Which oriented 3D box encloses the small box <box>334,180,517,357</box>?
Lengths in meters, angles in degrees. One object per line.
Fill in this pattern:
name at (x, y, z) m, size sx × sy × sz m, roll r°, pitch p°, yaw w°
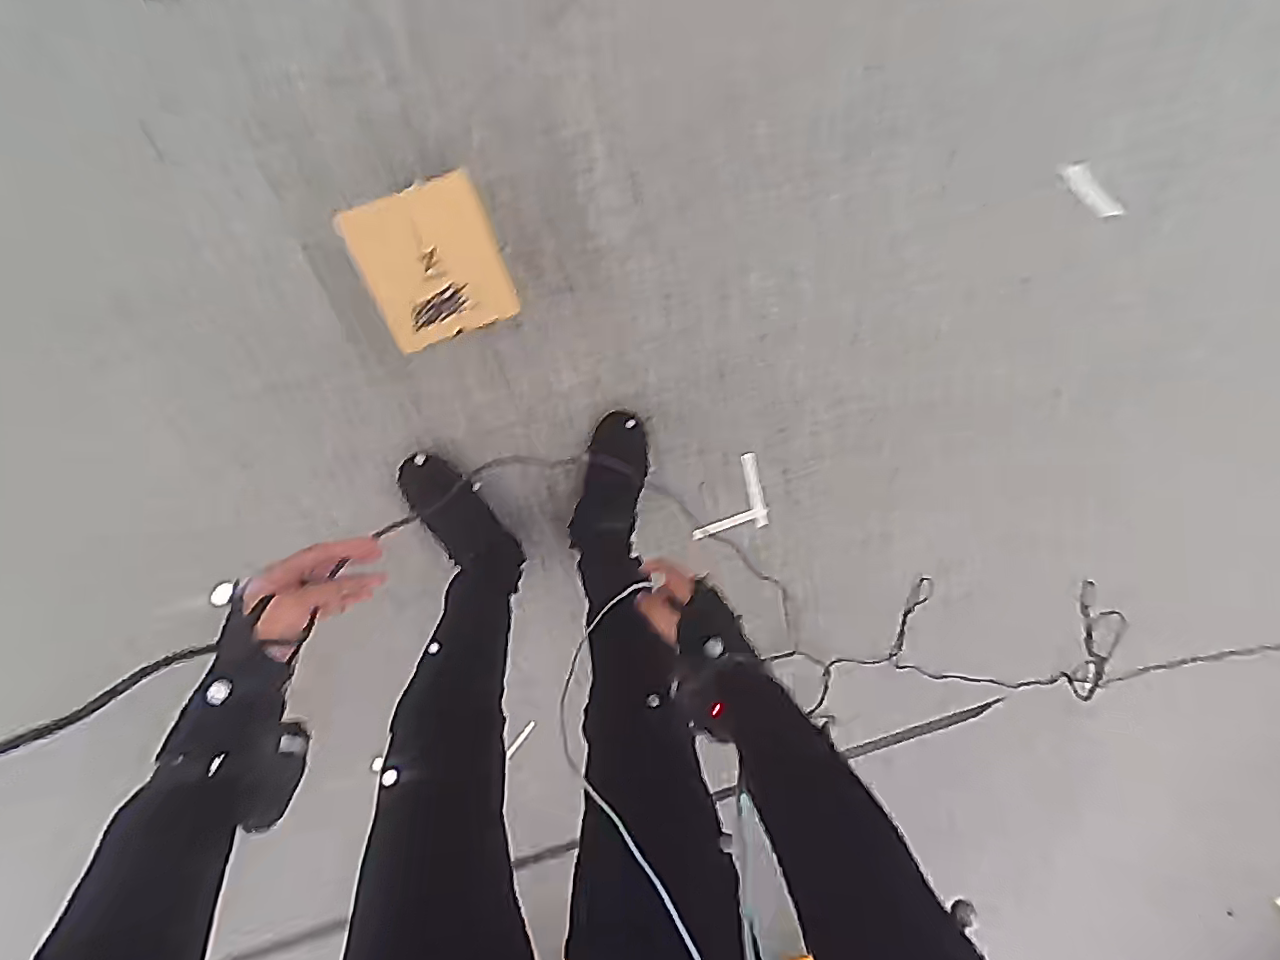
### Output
small box at (-0.278, -0.294, 0.751) m, size 0.168 × 0.176 × 0.179 m, roll -20°, pitch 116°, yaw -2°
